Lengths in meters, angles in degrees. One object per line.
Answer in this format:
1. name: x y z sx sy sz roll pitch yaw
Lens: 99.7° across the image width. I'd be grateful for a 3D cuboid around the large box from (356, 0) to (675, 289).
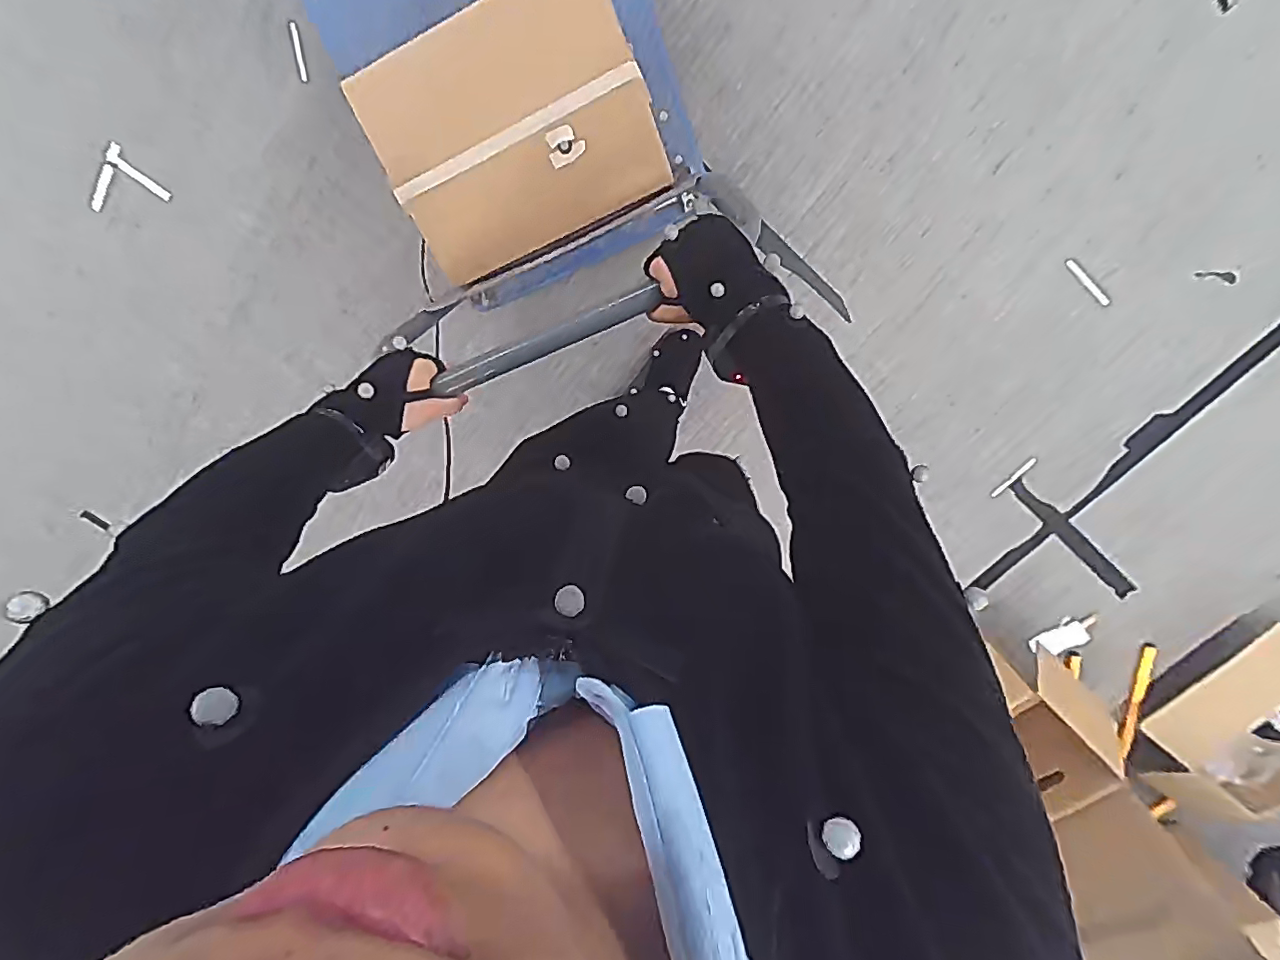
1. large box: -0.187 -0.585 0.960 0.408 0.320 0.320 -22 115 10
